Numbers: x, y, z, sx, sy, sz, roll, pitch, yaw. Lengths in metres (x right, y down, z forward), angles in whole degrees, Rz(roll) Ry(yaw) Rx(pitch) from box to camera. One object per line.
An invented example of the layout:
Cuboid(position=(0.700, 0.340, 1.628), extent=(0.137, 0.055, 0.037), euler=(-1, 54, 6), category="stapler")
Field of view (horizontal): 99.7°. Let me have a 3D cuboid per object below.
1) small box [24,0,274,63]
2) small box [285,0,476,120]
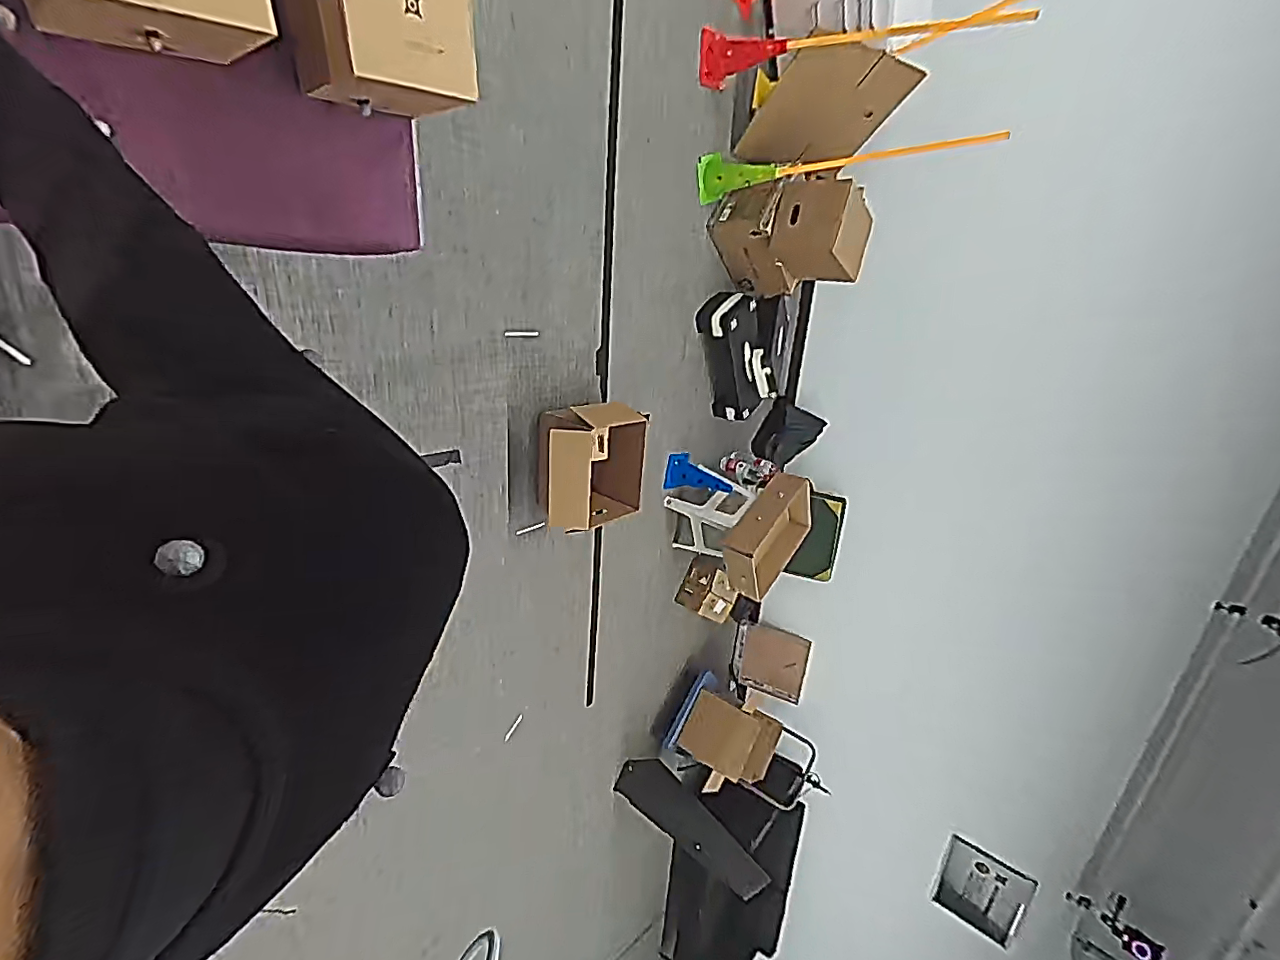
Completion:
Cuboid(position=(-0.486, -0.523, 0.508), extent=(0.168, 0.176, 0.179), euler=(-27, 126, -44), category="small box")
Cuboid(position=(-0.332, -0.581, 0.683), extent=(0.168, 0.176, 0.179), euler=(-24, 123, -44), category="small box")
